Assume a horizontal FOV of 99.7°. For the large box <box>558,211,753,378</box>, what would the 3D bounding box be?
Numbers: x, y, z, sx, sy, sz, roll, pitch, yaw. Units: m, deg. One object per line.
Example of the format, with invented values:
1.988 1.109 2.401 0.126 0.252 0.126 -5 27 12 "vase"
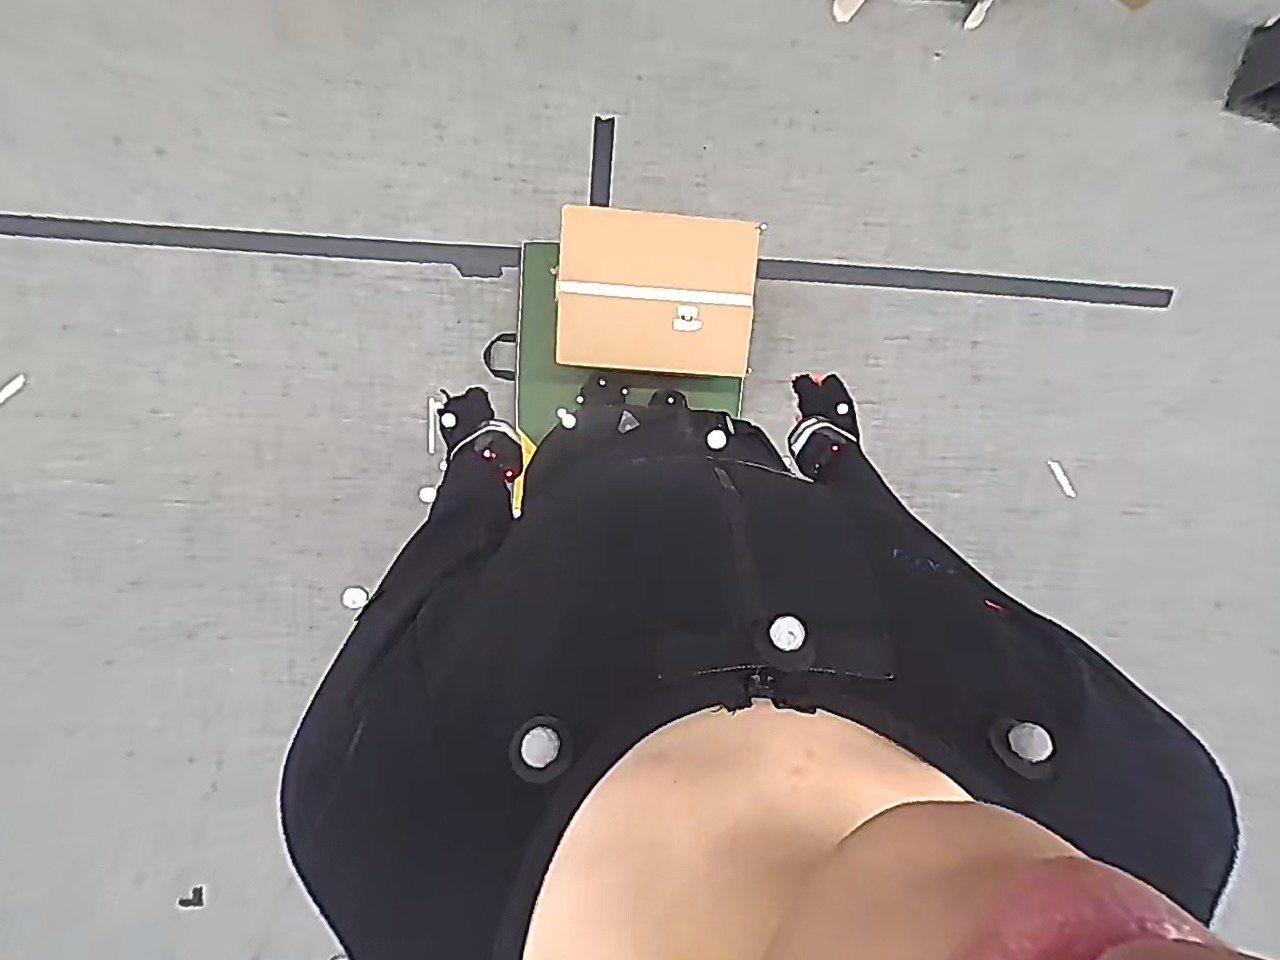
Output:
0.018 -0.408 1.272 0.408 0.320 0.320 3 100 -5 "large box"
